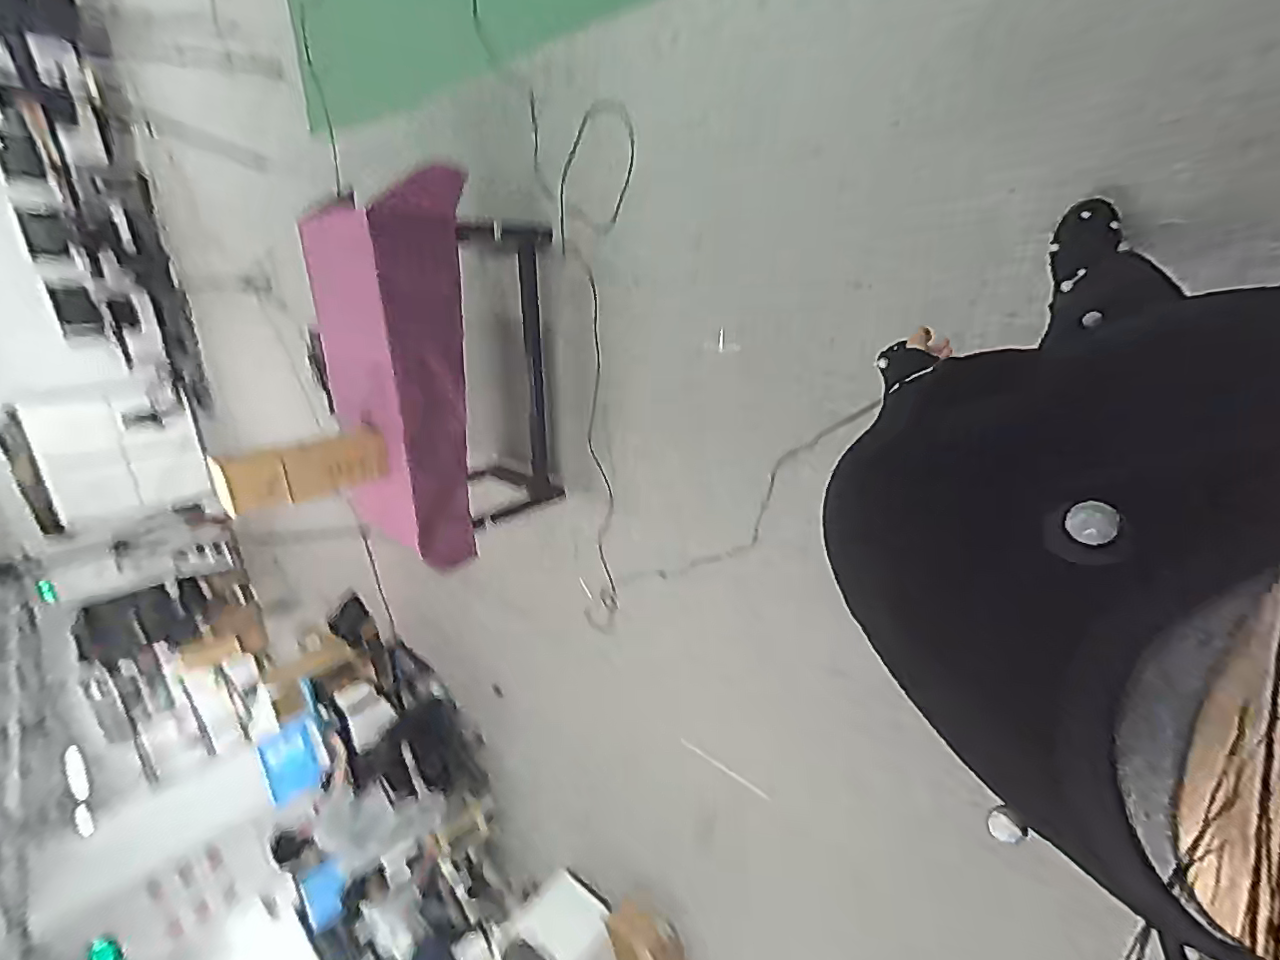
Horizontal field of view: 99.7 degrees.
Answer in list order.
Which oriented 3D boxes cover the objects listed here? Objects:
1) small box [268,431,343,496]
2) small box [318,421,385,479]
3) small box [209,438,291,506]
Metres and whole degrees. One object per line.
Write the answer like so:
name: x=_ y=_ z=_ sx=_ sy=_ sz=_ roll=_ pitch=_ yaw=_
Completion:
small box: x=-1.180 y=-0.066 z=1.912 sx=0.168 sy=0.176 sz=0.179 roll=21 pitch=118 yaw=38
small box: x=-1.070 y=-0.119 z=2.023 sx=0.179 sy=0.176 sz=0.168 roll=20 pitch=117 yaw=39
small box: x=-1.293 y=-0.035 z=1.798 sx=0.179 sy=0.176 sz=0.168 roll=19 pitch=118 yaw=38
